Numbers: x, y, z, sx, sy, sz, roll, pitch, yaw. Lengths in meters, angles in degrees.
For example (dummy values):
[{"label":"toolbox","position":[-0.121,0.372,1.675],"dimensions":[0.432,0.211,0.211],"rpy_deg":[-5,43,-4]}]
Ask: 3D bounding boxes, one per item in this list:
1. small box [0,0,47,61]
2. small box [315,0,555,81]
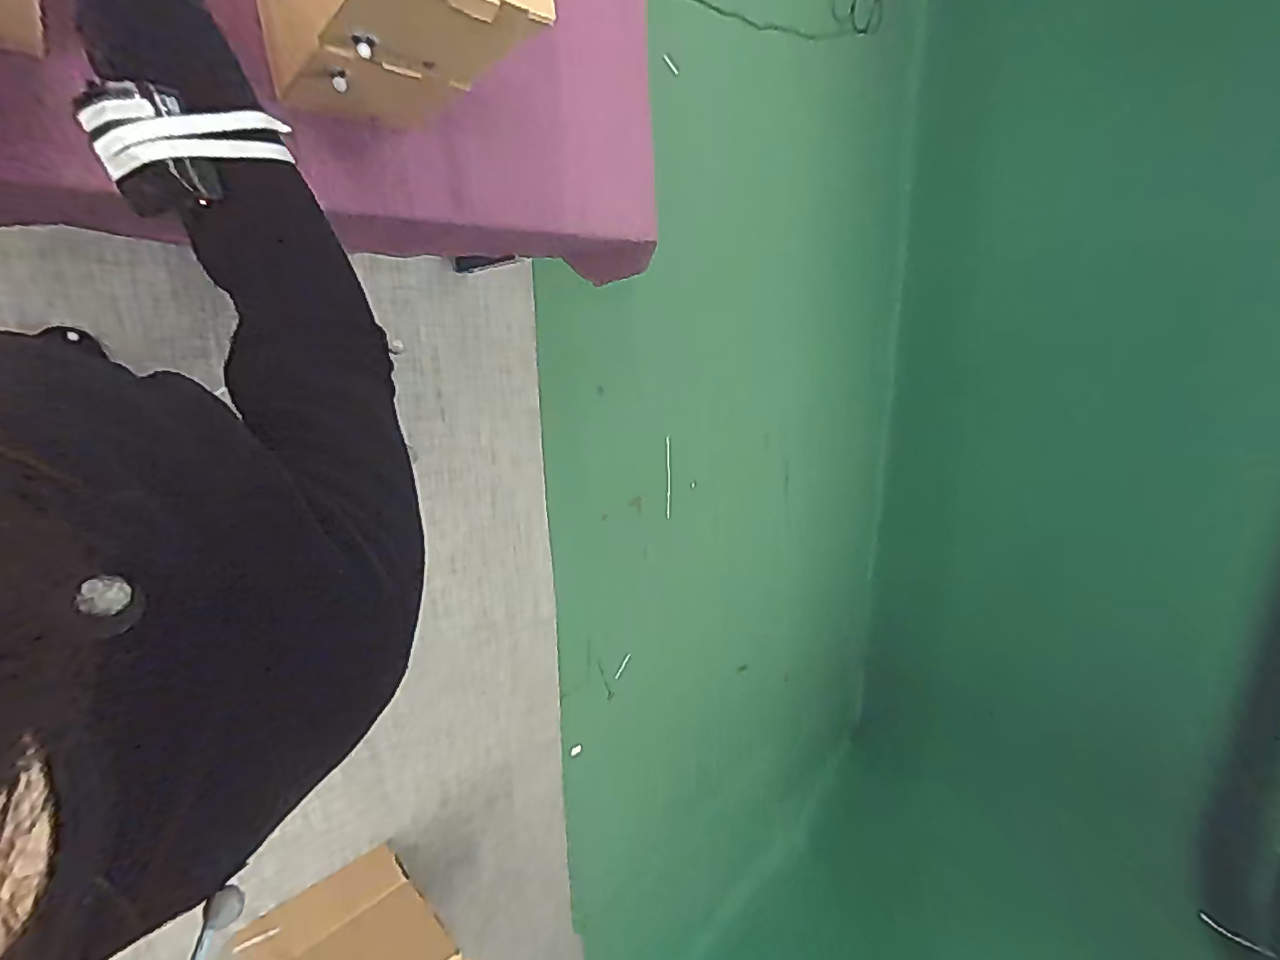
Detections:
[{"label":"small box","position":[-0.560,-0.447,0.379],"dimensions":[0.168,0.176,0.179],"rpy_deg":[-17,110,-43]},{"label":"small box","position":[-0.201,-0.512,0.499],"dimensions":[0.168,0.176,0.179],"rpy_deg":[-19,110,-43]}]
